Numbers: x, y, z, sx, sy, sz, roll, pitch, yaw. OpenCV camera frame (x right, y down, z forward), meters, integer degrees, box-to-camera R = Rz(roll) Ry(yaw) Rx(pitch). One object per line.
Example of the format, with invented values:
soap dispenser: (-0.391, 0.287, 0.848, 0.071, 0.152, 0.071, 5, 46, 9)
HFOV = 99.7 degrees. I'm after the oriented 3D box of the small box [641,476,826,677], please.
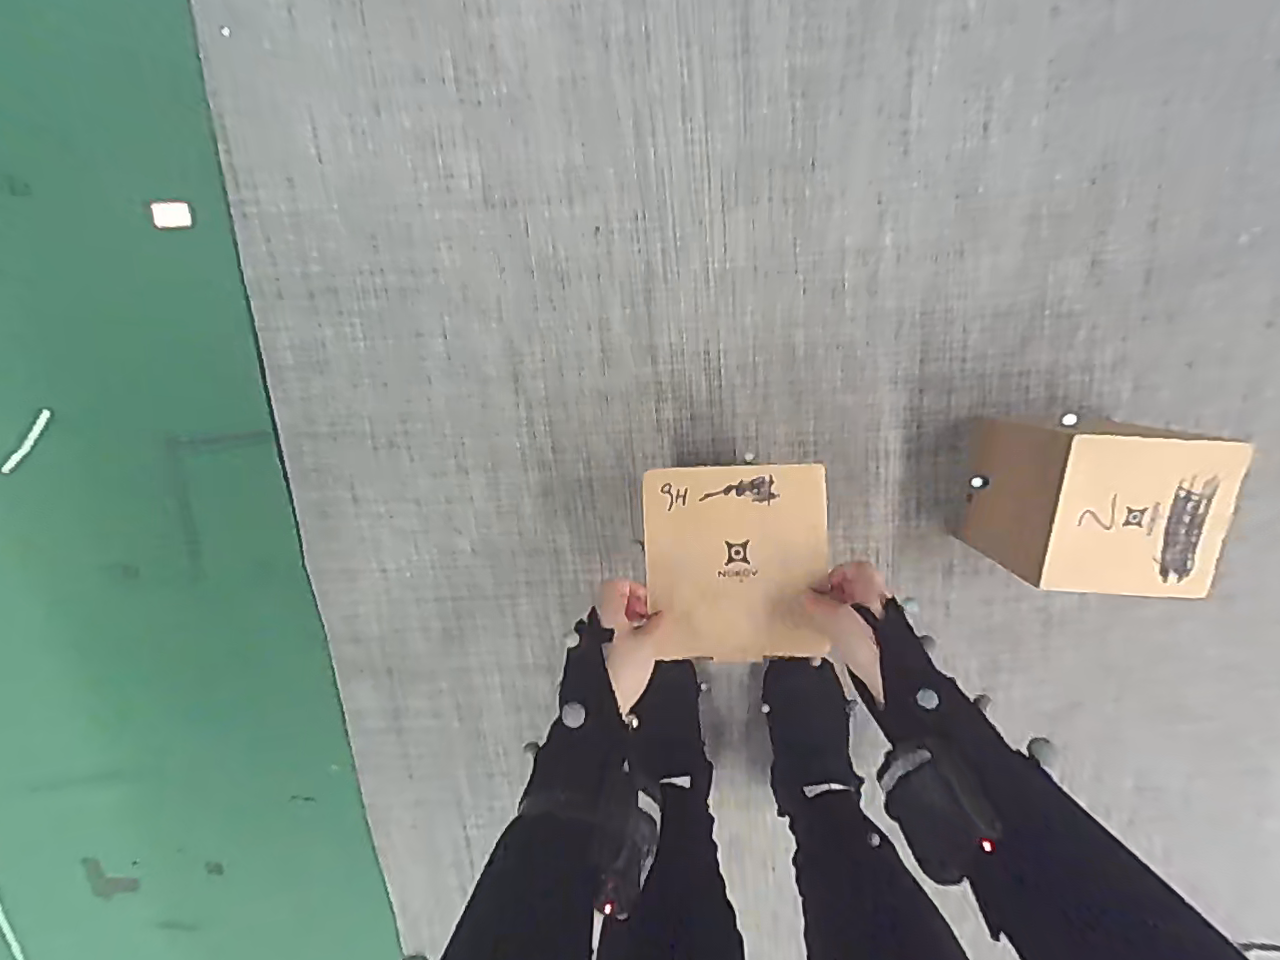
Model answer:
small box: (0.086, 0.087, 0.564, 0.168, 0.176, 0.179, -1, 92, 1)
